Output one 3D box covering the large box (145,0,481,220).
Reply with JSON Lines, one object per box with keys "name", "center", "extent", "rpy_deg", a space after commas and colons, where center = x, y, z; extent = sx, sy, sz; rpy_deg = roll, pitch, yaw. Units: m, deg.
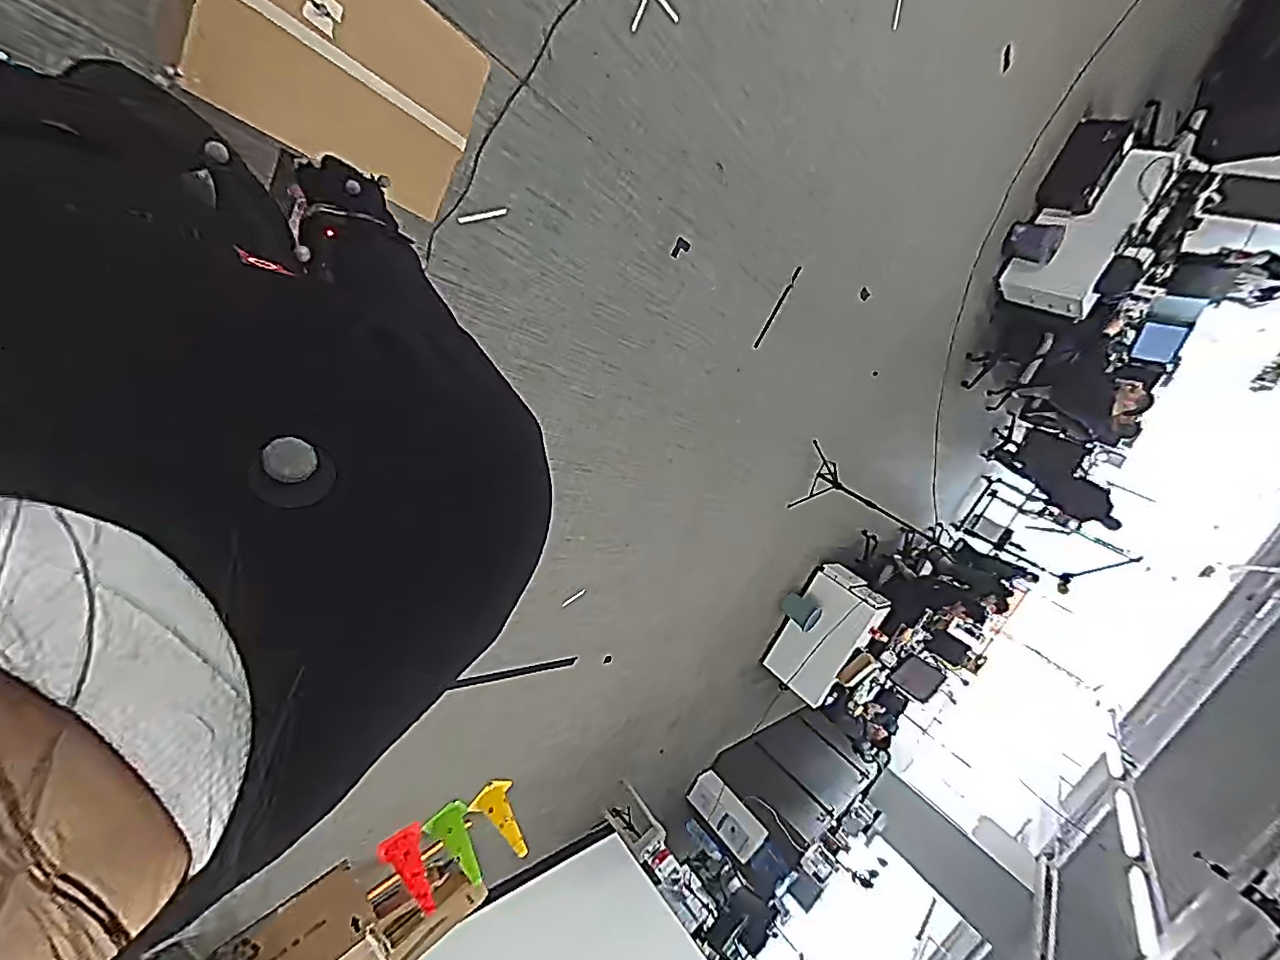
{"name": "large box", "center": [-0.574, -0.731, 0.964], "extent": [0.408, 0.320, 0.320], "rpy_deg": [12, 108, -49]}
